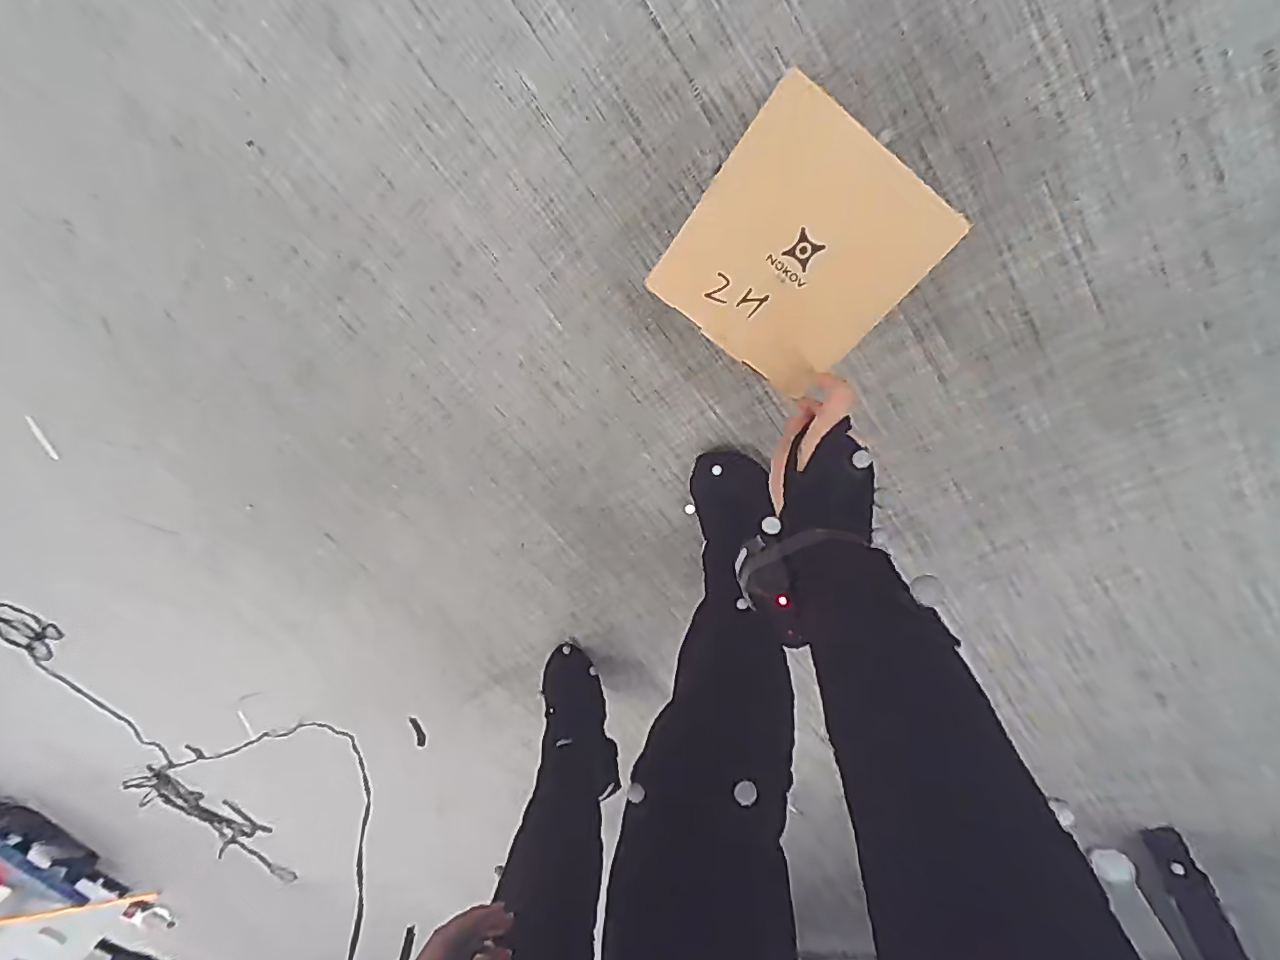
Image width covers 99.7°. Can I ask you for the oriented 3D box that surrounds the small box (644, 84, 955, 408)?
[{"bbox_3d":[0.129,-0.204,0.481,0.168,0.176,0.179,36,123,-8],"label":"small box"}]
